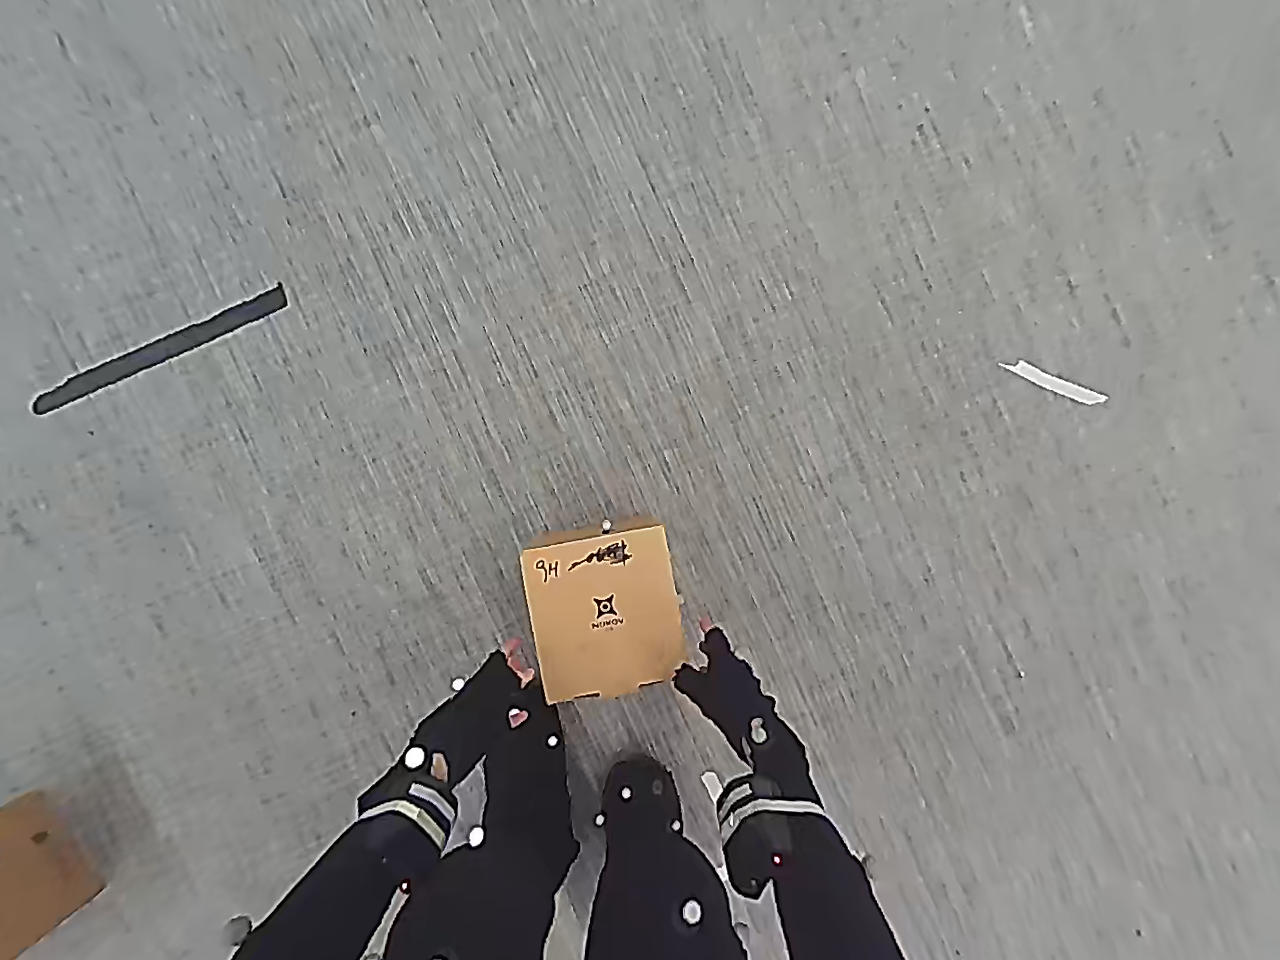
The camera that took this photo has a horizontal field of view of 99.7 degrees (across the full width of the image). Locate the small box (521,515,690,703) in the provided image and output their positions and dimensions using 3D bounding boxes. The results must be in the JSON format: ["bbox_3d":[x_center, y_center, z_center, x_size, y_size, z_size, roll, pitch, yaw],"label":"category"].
[{"bbox_3d":[-0.040,0.146,0.674,0.168,0.176,0.179,-10,90,-3],"label":"small box"}]

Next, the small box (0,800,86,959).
[{"bbox_3d":[-0.827,0.528,0.636,0.179,0.176,0.168,-36,89,-2],"label":"small box"}]
